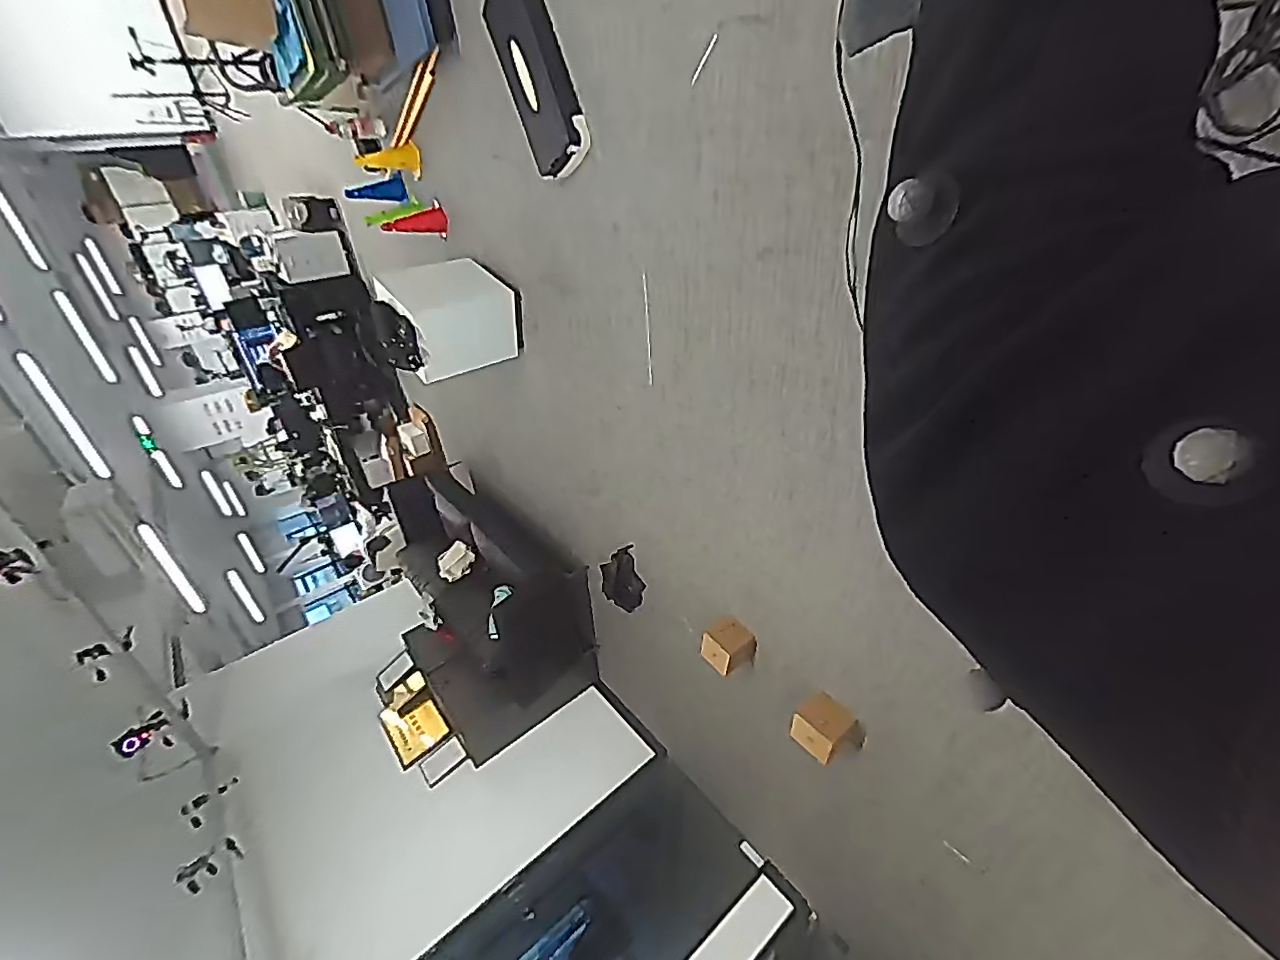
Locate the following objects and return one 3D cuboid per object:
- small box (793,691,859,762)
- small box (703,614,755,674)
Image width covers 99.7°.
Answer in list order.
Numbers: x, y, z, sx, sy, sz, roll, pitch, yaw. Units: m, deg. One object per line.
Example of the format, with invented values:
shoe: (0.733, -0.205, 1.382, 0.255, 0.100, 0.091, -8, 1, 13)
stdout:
small box: (0.751, 0.987, 2.191, 0.179, 0.176, 0.168, 34, 138, 40)
small box: (0.420, 0.760, 2.527, 0.168, 0.176, 0.179, 39, 142, 38)
